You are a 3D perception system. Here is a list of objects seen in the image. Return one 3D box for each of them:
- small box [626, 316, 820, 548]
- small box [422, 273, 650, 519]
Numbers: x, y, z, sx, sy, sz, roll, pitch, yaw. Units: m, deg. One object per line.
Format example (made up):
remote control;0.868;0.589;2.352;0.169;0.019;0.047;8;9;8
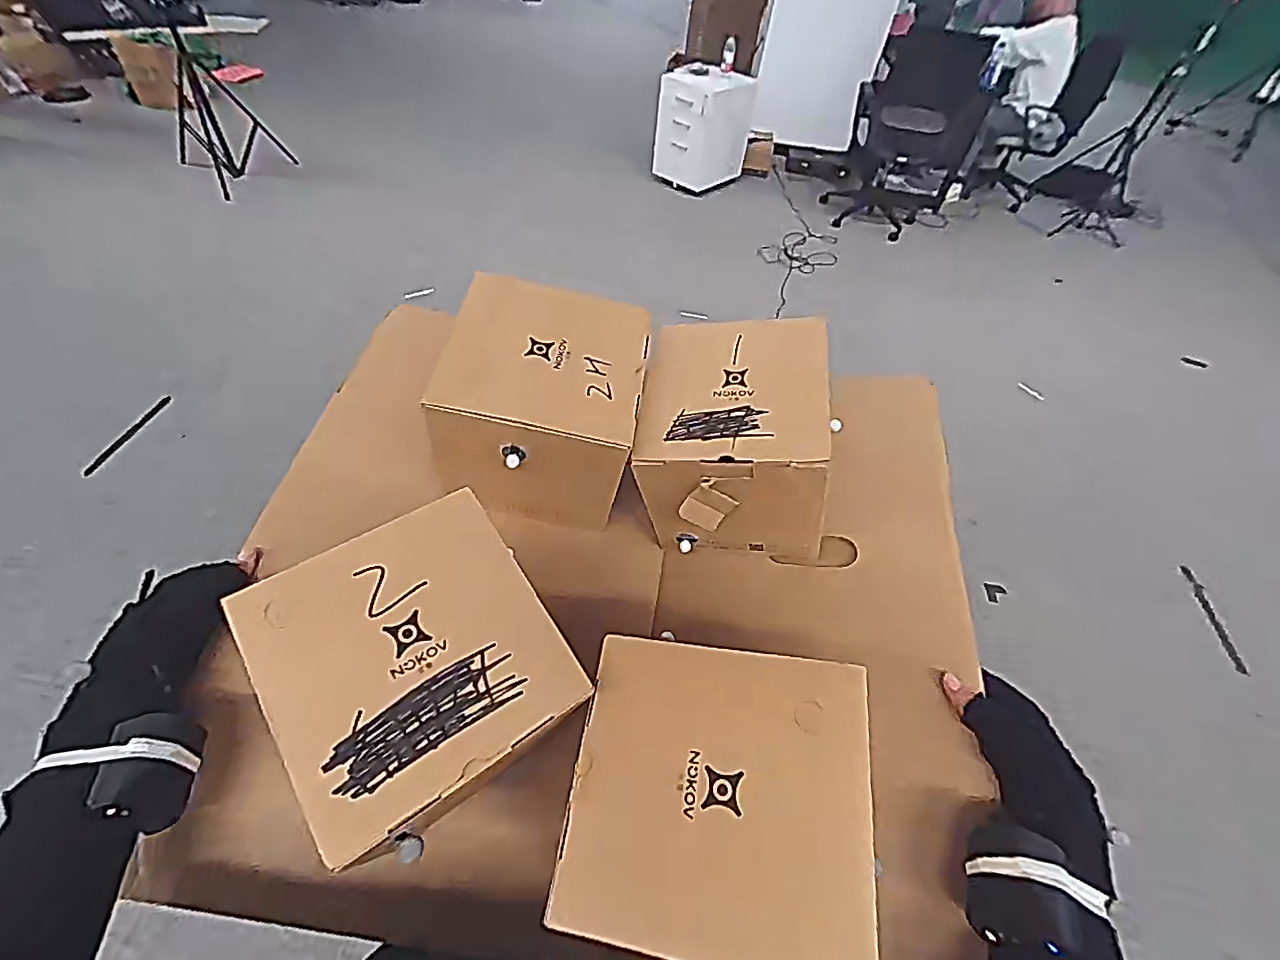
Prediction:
small box;0.097;-0.044;0.562;0.168;0.176;0.179;2;56;15
small box;-0.100;-0.076;0.557;0.179;0.176;0.168;12;59;-6
